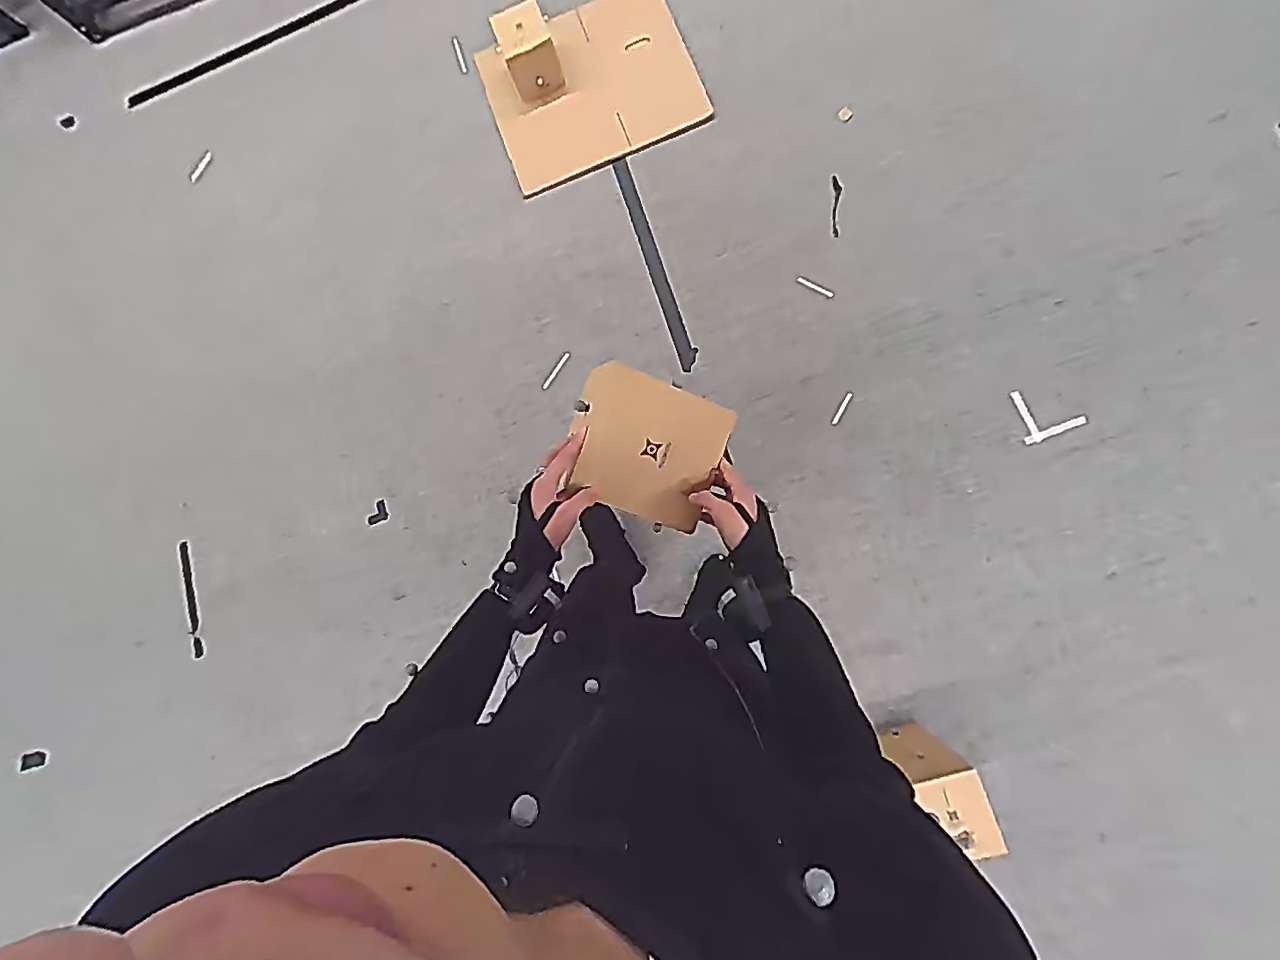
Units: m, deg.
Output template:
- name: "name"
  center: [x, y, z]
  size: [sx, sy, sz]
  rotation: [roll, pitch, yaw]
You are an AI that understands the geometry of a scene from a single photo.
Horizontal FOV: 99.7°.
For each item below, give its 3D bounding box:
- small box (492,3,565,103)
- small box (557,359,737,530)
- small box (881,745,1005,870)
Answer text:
- name: "small box"
  center: [-0.373, -1.433, 1.824]
  size: [0.168, 0.176, 0.179]
  rotation: [-21, 80, 6]
- name: "small box"
  center: [-0.003, -0.048, 0.734]
  size: [0.179, 0.176, 0.168]
  rotation: [20, 93, -16]
- name: "small box"
  center: [0.681, 0.739, 1.236]
  size: [0.168, 0.176, 0.179]
  rotation: [-18, 80, 4]
